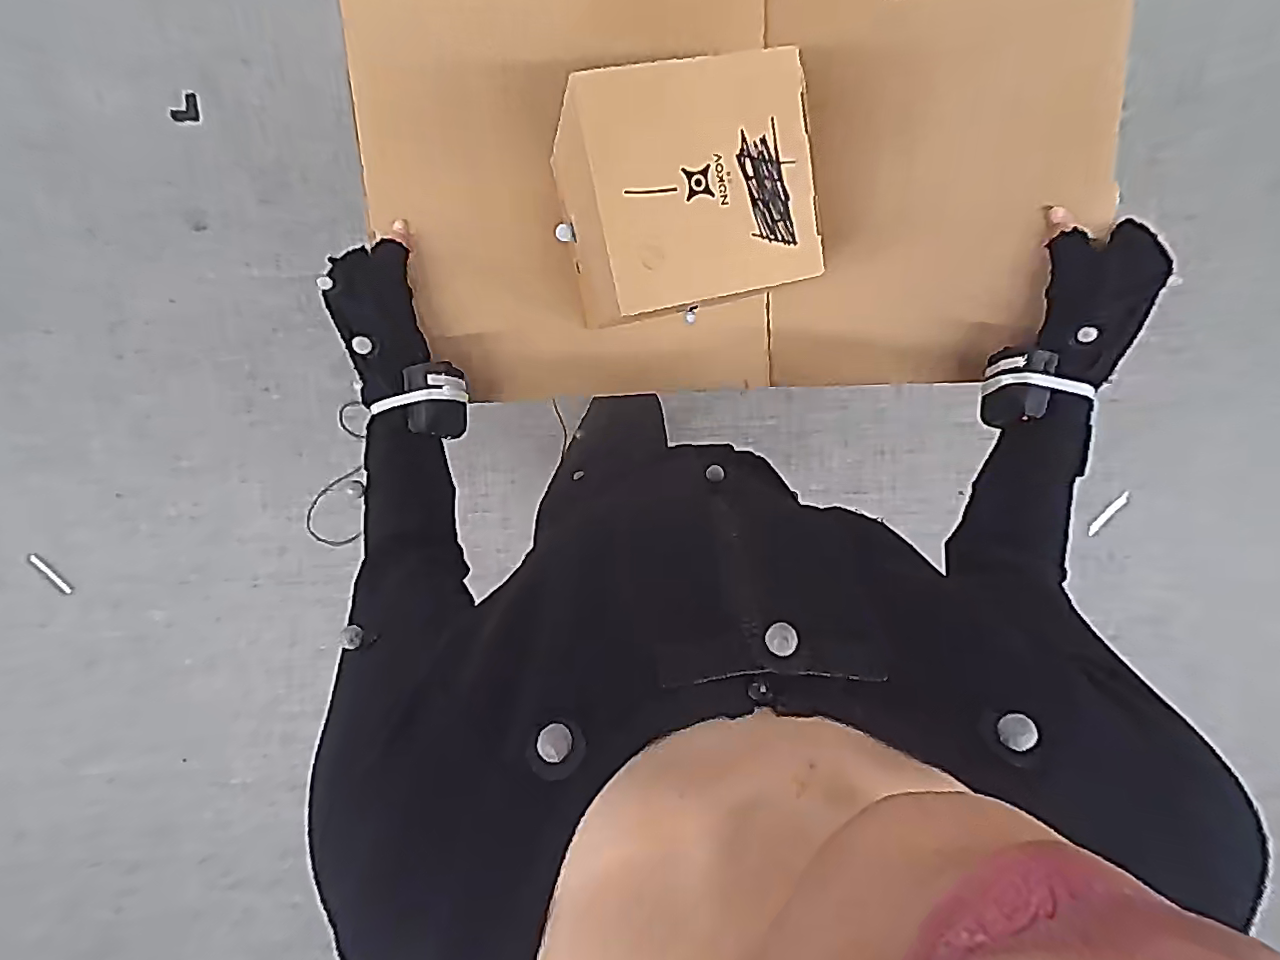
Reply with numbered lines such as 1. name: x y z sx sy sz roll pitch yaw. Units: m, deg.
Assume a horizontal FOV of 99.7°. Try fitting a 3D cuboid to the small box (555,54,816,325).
1. small box: 0.031 -0.243 0.491 0.179 0.176 0.168 -15 104 -10
